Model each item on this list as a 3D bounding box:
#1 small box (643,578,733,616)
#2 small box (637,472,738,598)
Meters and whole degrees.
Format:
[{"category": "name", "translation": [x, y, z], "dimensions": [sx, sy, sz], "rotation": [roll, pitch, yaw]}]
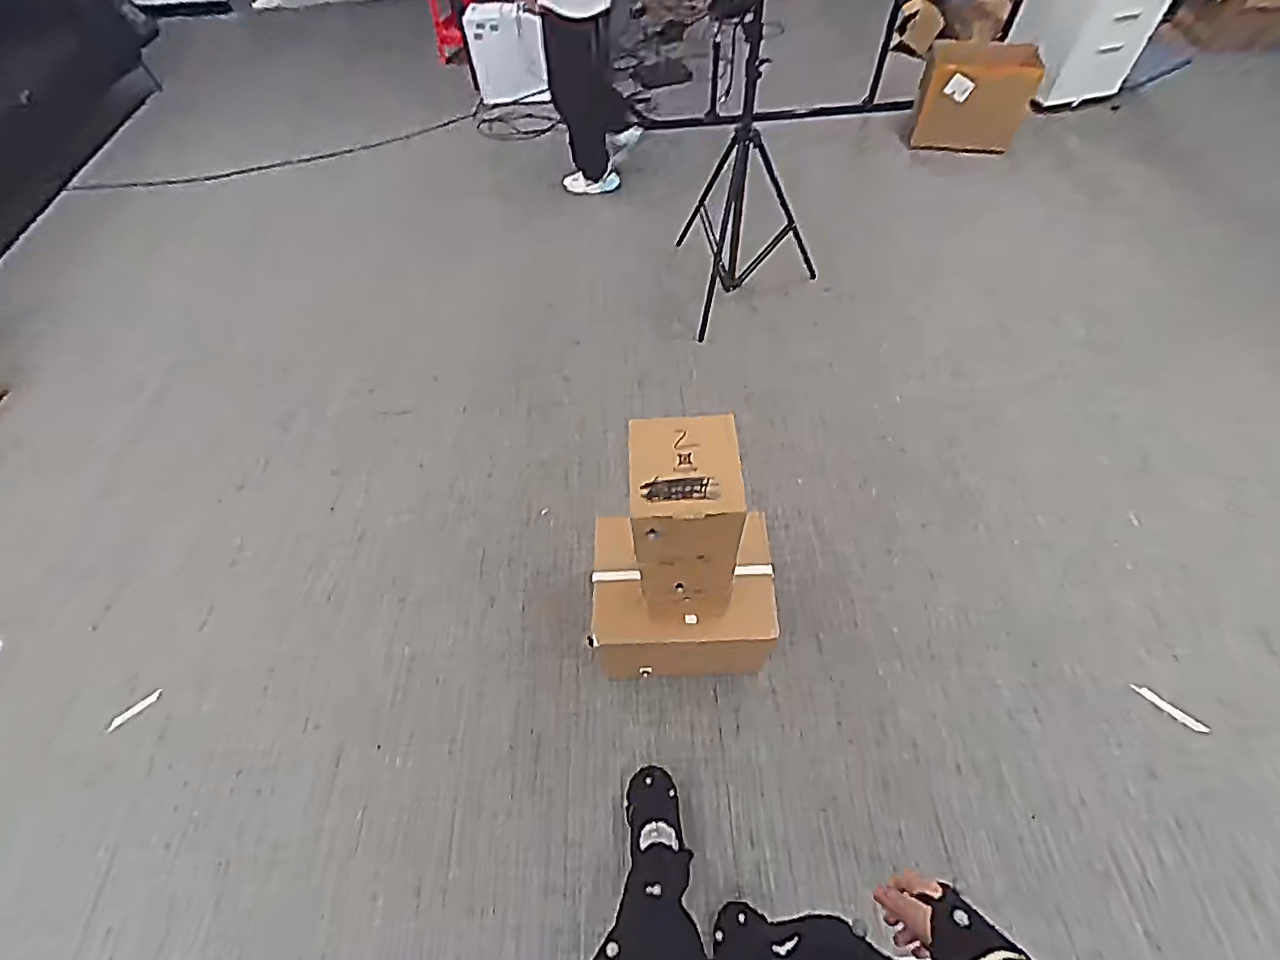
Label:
[{"category": "small box", "translation": [0.095, 0.183, 1.147], "dimensions": [0.179, 0.176, 0.168], "rotation": [-4, 59, 0]}, {"category": "small box", "translation": [0.081, 0.105, 1.005], "dimensions": [0.168, 0.176, 0.179], "rotation": [-4, 59, 1]}]
